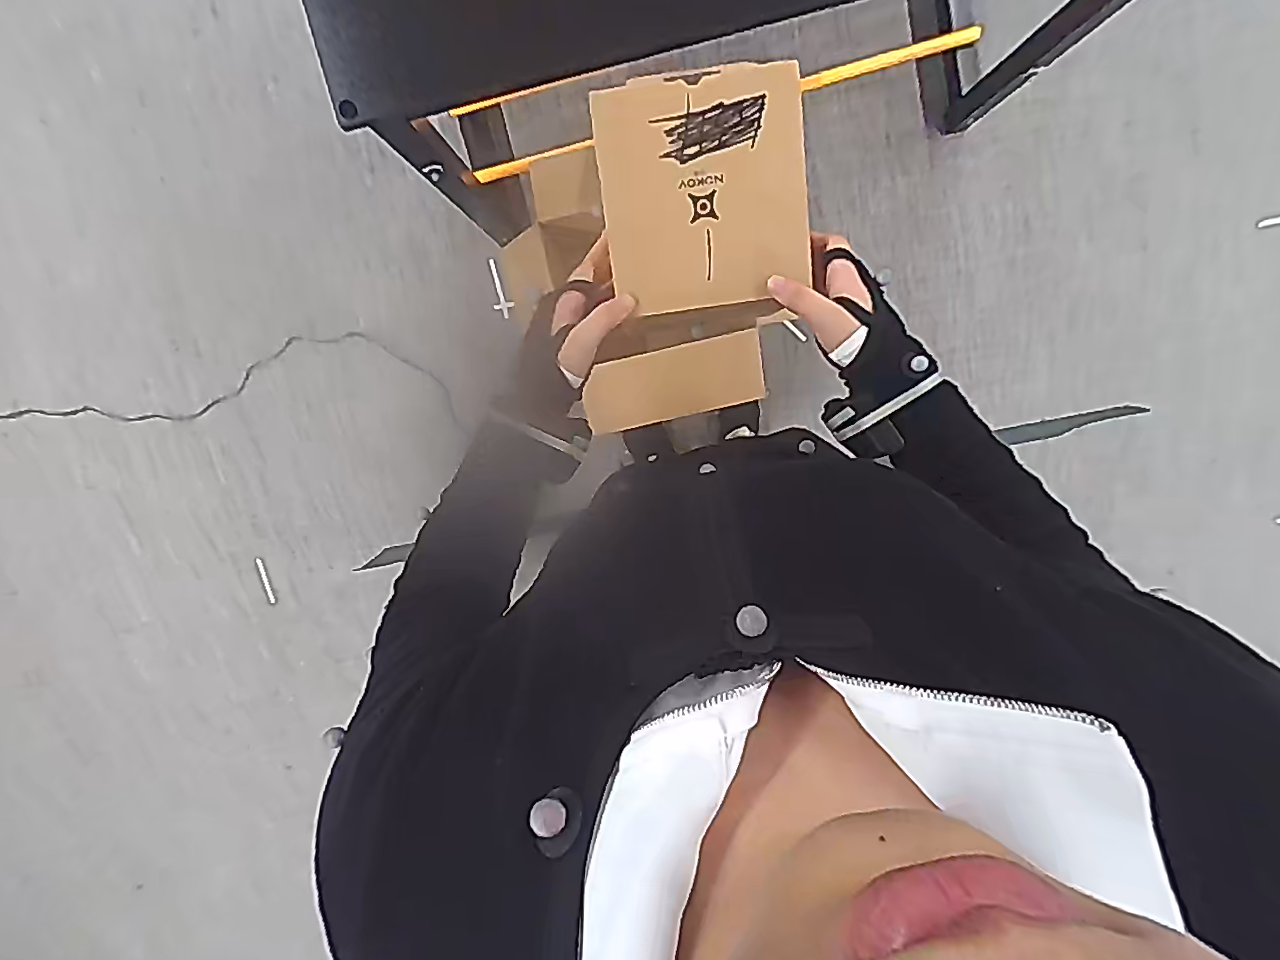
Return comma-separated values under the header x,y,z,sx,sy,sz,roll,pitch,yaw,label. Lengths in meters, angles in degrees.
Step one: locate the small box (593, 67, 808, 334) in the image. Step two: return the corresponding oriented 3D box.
x,y,z,sx,sy,sz,roll,pitch,yaw,label
0.052,-0.245,0.520,0.168,0.176,0.179,-7,101,3,small box
